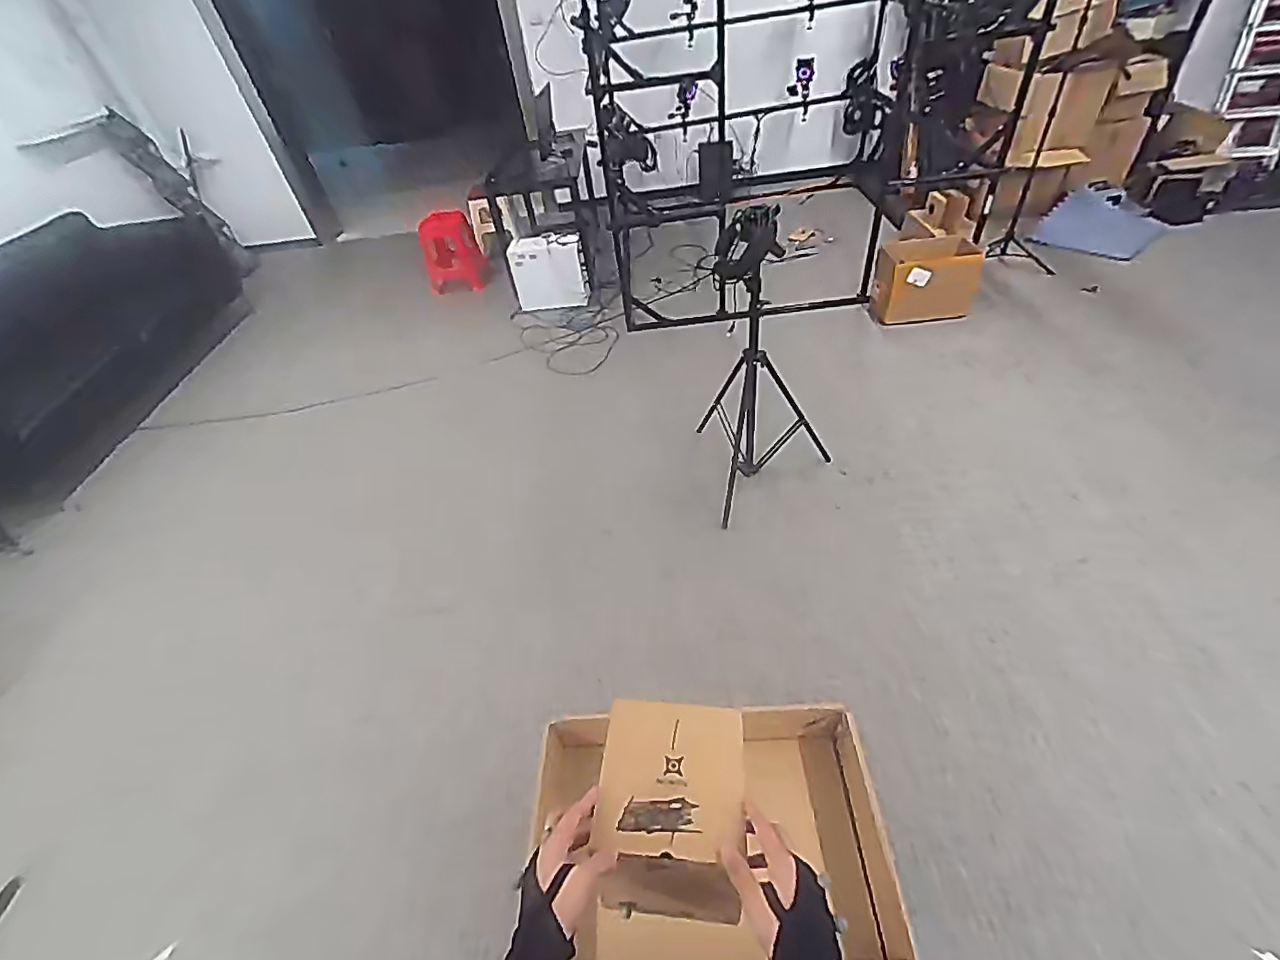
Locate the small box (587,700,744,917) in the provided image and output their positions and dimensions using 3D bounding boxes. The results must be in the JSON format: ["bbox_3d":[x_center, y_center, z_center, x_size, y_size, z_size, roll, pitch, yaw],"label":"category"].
[{"bbox_3d":[0.040,0.399,0.662,0.168,0.176,0.179,1,36,7],"label":"small box"}]
